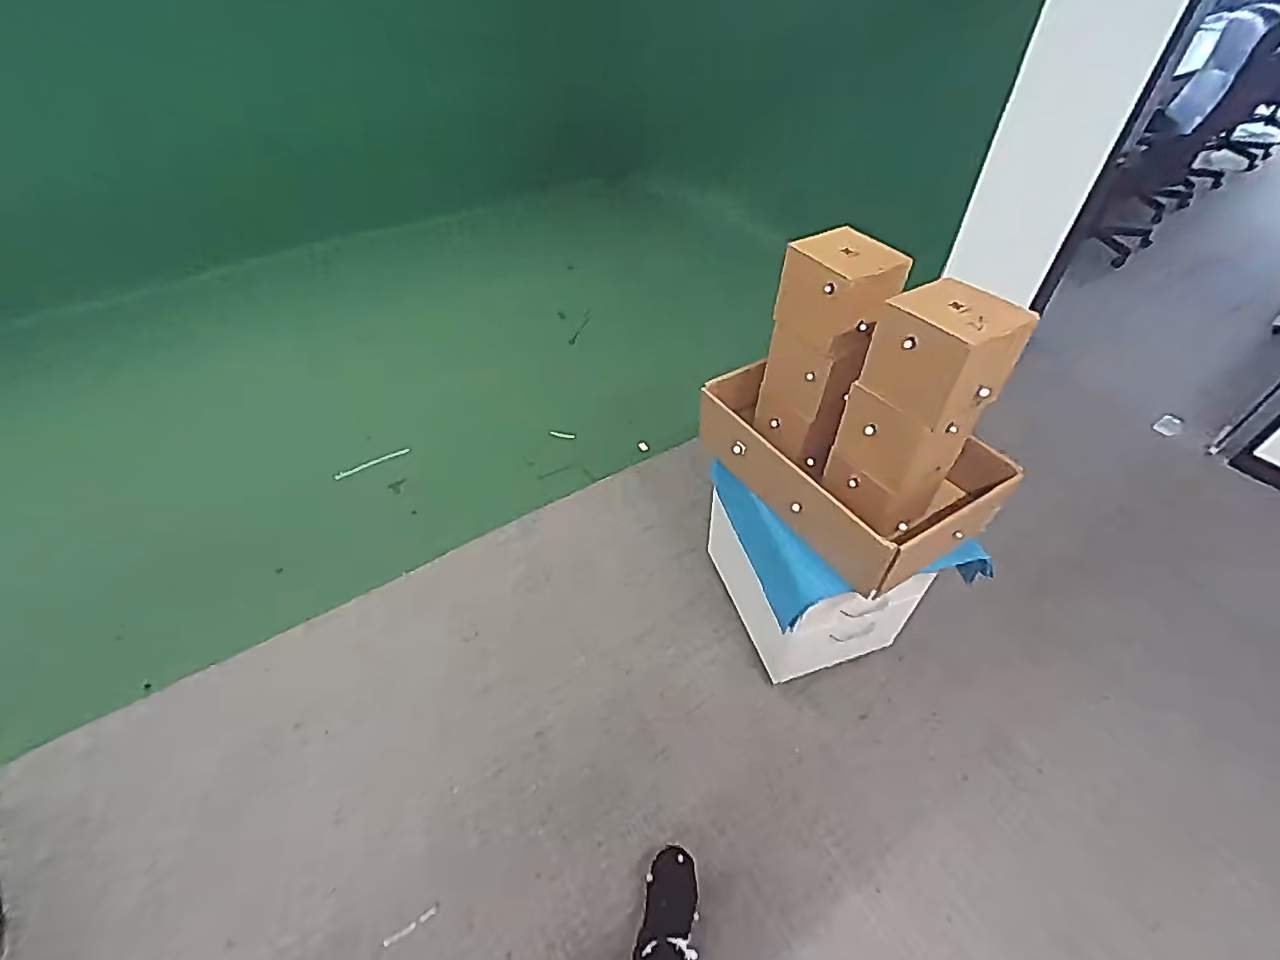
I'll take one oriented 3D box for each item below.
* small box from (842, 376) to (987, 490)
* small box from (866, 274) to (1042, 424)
[{"bbox_3d":[0.524,-0.112,1.054,0.168,0.176,0.179,-26,48,-20],"label":"small box"},{"bbox_3d":[0.525,-0.226,0.934,0.168,0.176,0.179,-24,49,-18],"label":"small box"}]
